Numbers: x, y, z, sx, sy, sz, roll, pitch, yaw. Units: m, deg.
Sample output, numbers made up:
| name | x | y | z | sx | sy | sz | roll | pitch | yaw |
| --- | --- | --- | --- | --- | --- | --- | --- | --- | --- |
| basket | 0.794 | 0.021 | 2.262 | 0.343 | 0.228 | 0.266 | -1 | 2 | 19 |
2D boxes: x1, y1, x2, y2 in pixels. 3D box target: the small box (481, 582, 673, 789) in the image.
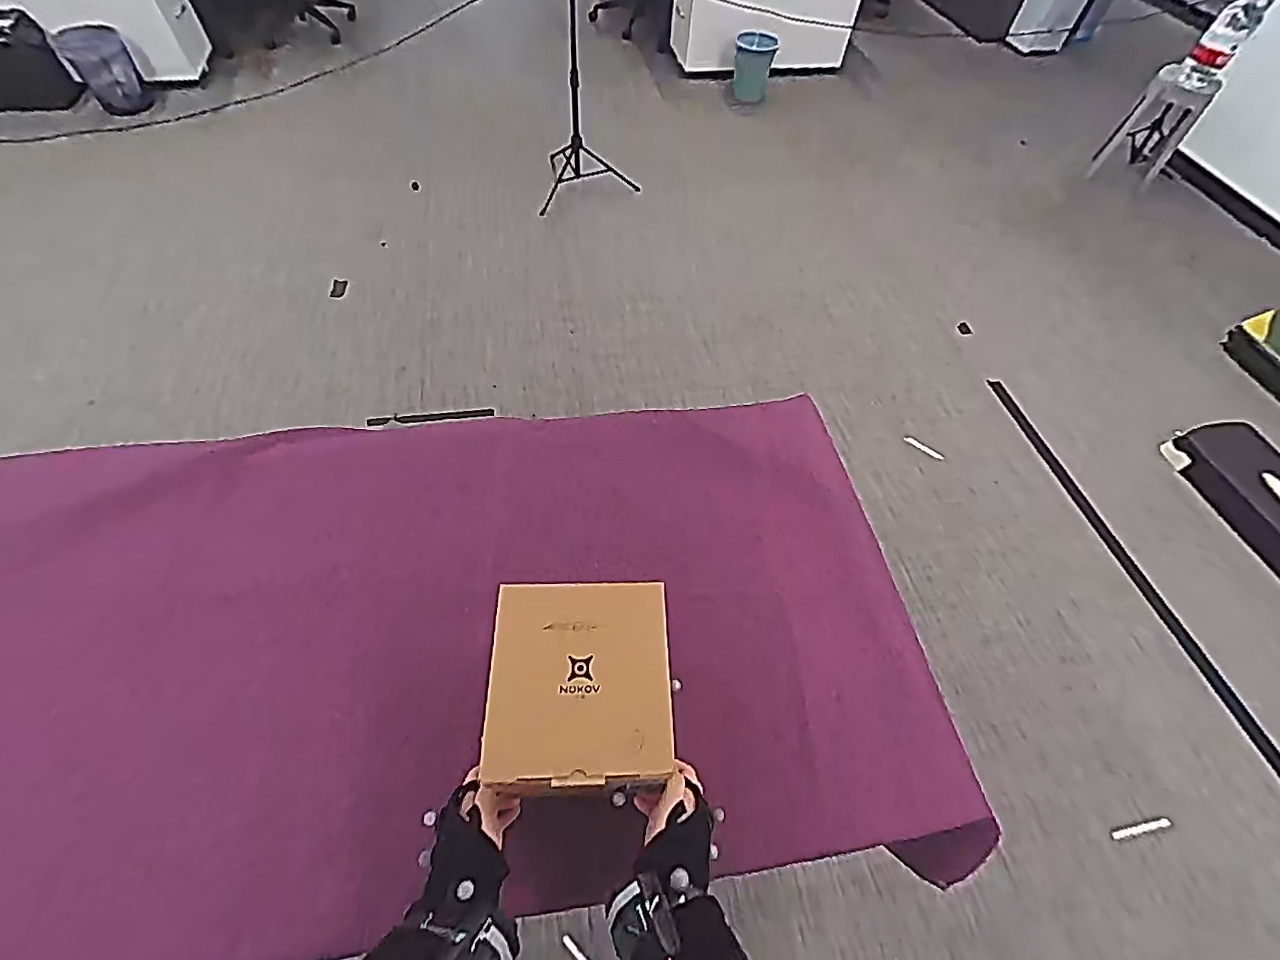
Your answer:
| name | x | y | z | sx | sy | sz | roll | pitch | yaw |
| --- | --- | --- | --- | --- | --- | --- | --- | --- | --- |
| small box | -0.057 | 0.219 | 0.563 | 0.168 | 0.176 | 0.179 | 1 | 56 | -4 |
